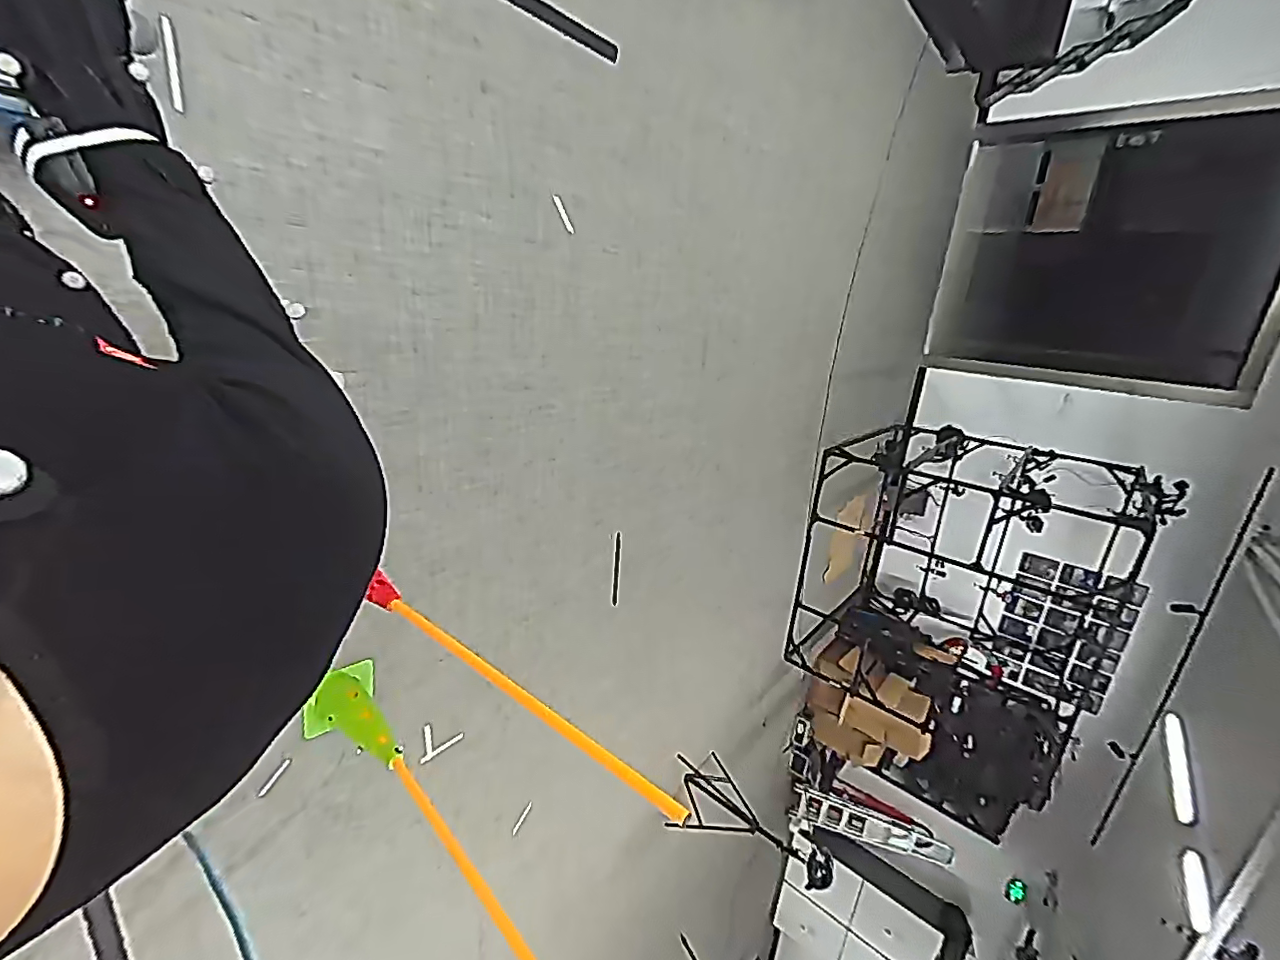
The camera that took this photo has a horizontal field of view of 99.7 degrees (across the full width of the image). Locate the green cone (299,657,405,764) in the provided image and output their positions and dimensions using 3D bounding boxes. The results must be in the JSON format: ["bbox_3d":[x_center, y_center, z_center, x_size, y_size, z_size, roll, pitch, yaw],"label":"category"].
[{"bbox_3d":[-0.788,0.699,1.541,0.202,0.368,0.200,-12,115,-51],"label":"green cone"}]
